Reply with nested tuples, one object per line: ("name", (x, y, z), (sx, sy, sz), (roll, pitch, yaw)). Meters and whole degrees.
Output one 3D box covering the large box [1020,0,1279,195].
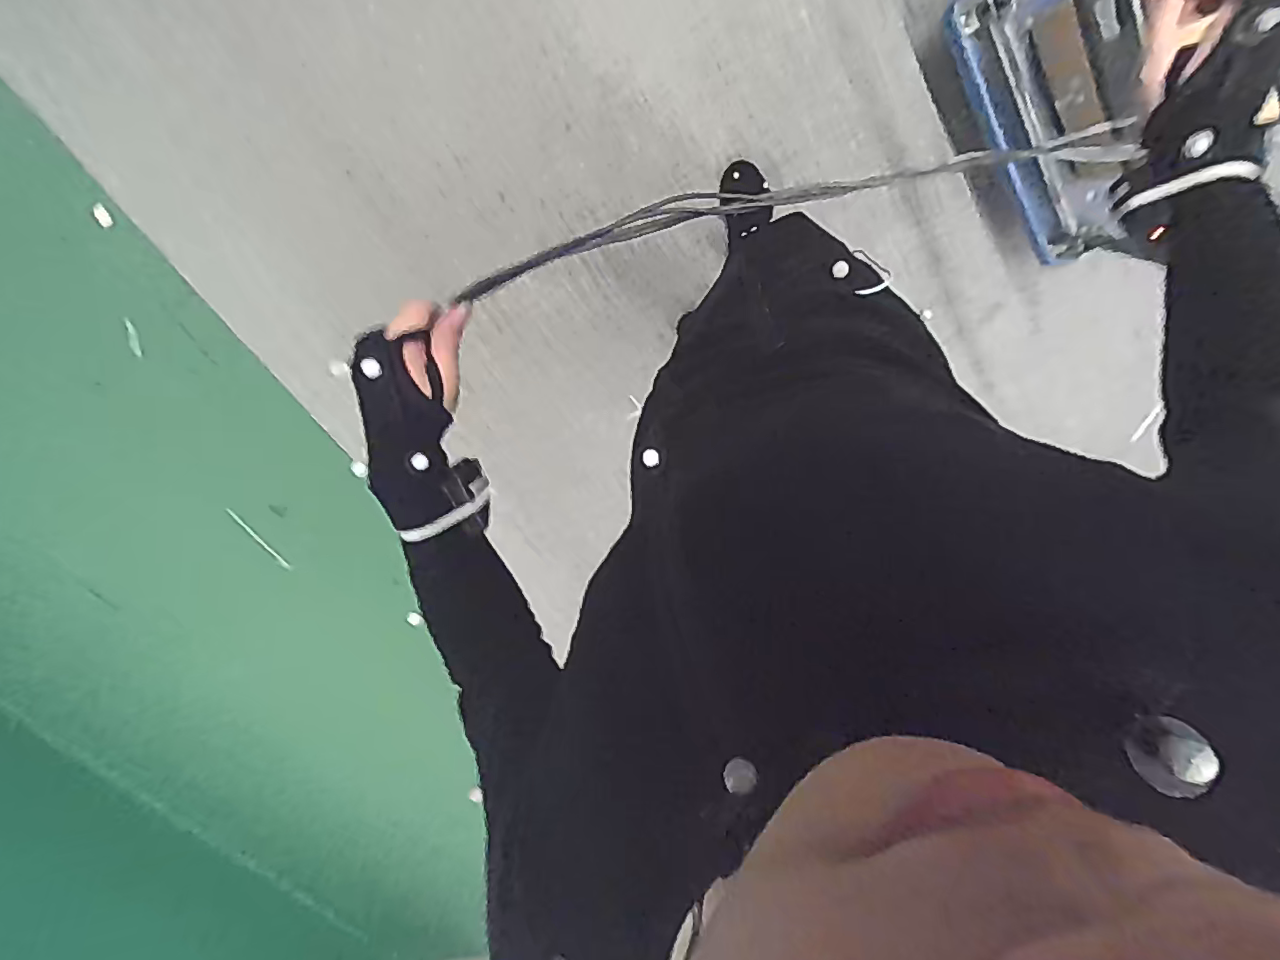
("large box", (0.941, -0.728, 0.872), (0.408, 0.320, 0.320), (-29, 110, 20))
